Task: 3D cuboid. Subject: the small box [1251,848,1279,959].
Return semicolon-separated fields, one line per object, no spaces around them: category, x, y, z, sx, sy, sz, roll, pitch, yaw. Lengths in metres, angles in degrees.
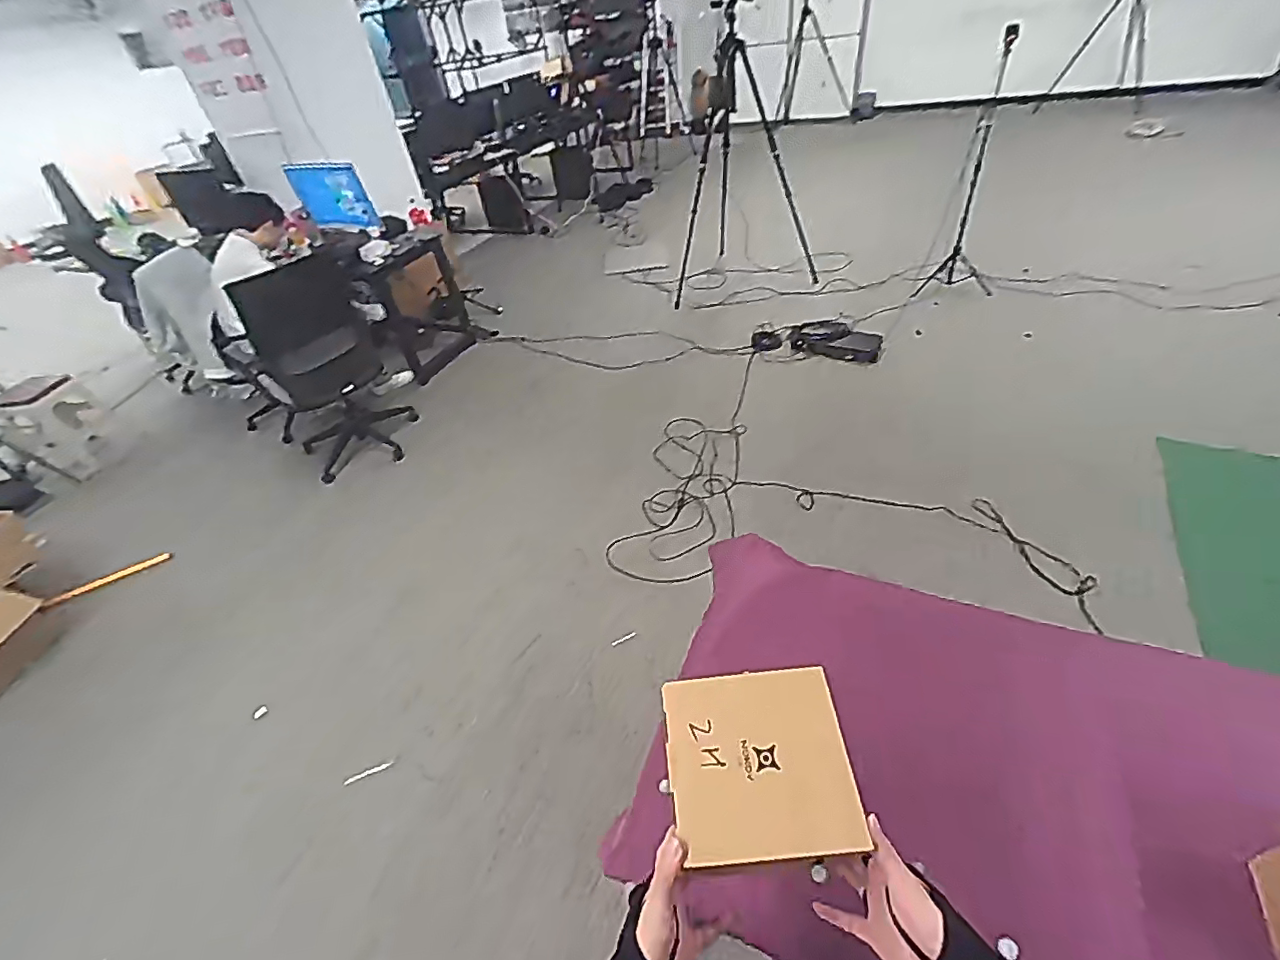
small box;0.825;0.494;0.565;0.179;0.176;0.168;11;46;23

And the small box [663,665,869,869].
small box;0.122;0.319;0.595;0.179;0.176;0.168;-7;51;3
